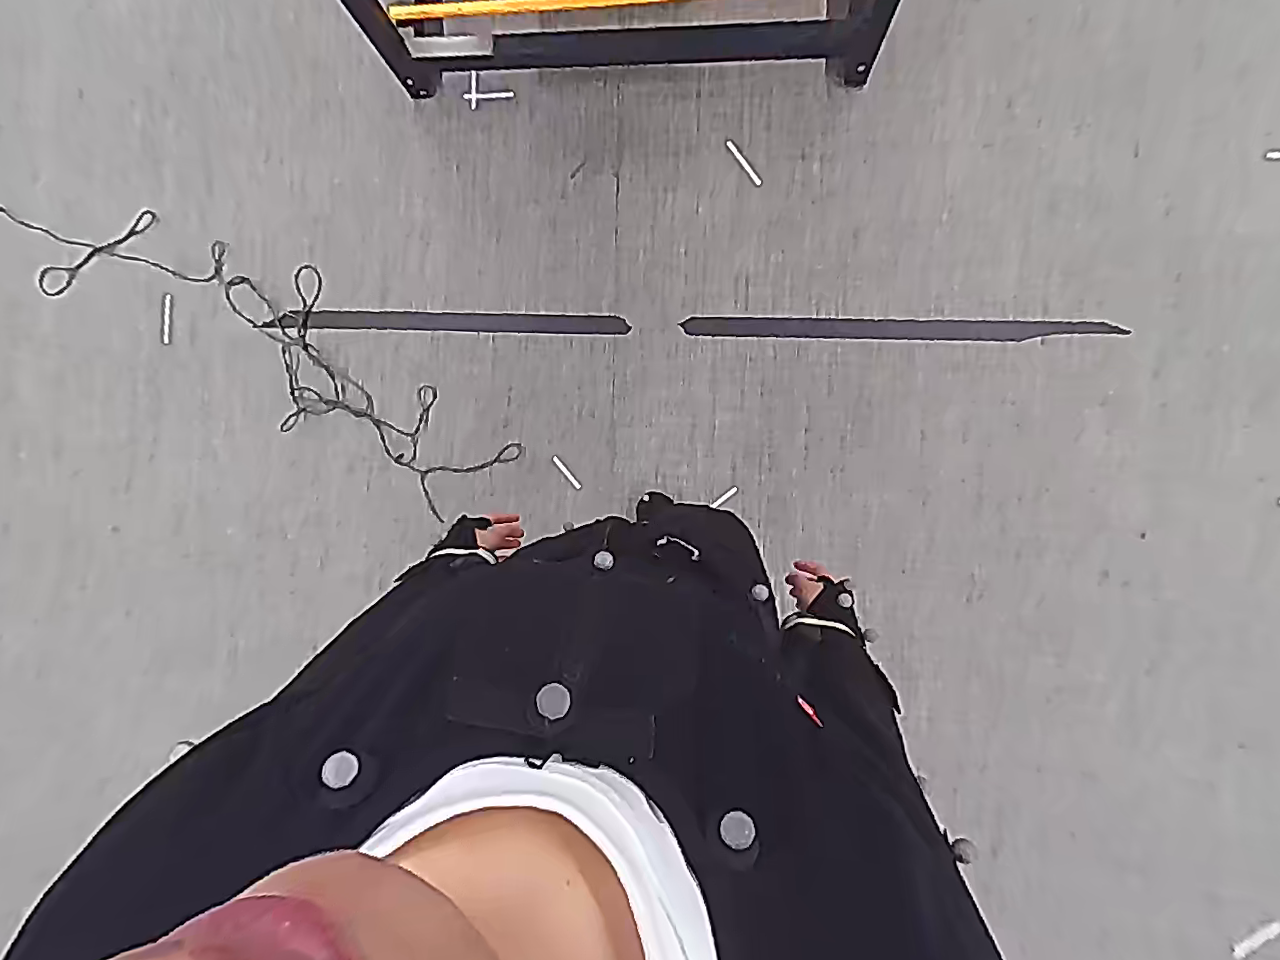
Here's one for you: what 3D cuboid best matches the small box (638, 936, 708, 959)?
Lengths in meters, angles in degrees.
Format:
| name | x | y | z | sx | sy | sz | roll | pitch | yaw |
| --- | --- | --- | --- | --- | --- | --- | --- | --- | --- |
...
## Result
| name | x | y | z | sx | sy | sz | roll | pitch | yaw |
| --- | --- | --- | --- | --- | --- | --- | --- | --- | --- |
| small box | 0.077 | 1.243 | 1.287 | 0.179 | 0.176 | 0.168 | 2 | 89 | 6 |
